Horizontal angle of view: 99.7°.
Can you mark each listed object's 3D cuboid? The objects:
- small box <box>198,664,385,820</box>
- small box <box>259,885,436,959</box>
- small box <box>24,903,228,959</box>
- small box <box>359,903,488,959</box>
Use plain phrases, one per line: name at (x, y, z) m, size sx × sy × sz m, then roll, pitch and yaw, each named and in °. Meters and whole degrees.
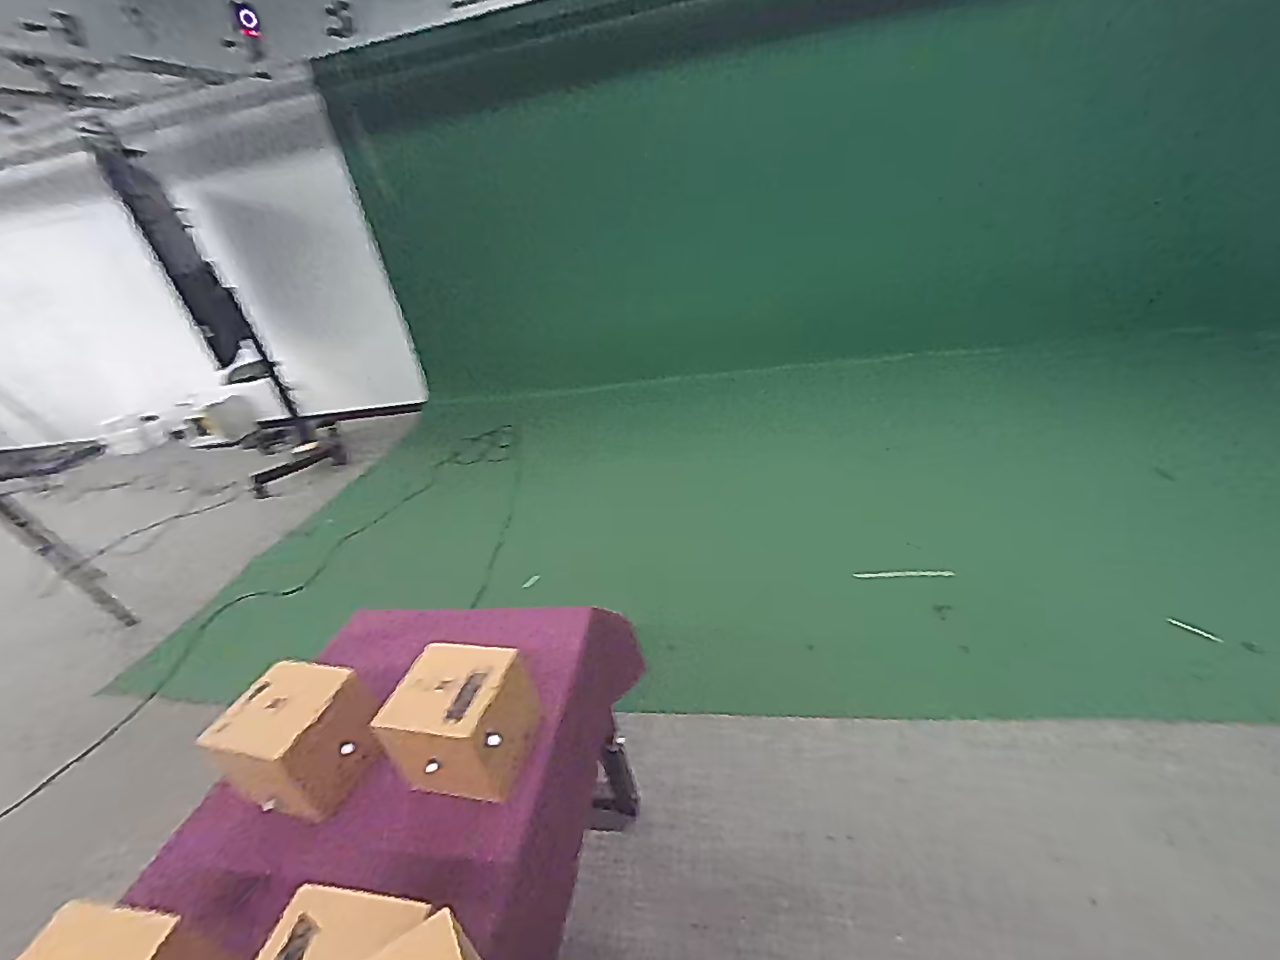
small box at (-0.575, 0.444, 0.921) m, size 0.179 × 0.176 × 0.168 m, roll 0°, pitch 30°, yaw 18°
small box at (-0.313, 0.581, 0.584) m, size 0.179 × 0.176 × 0.168 m, roll -3°, pitch 30°, yaw 14°
small box at (-0.613, 0.626, 0.616) m, size 0.179 × 0.176 × 0.168 m, roll -3°, pitch 30°, yaw 13°
small box at (-0.149, 0.417, 0.318) m, size 0.168 × 0.176 × 0.179 m, roll -20°, pitch 38°, yaw -24°
